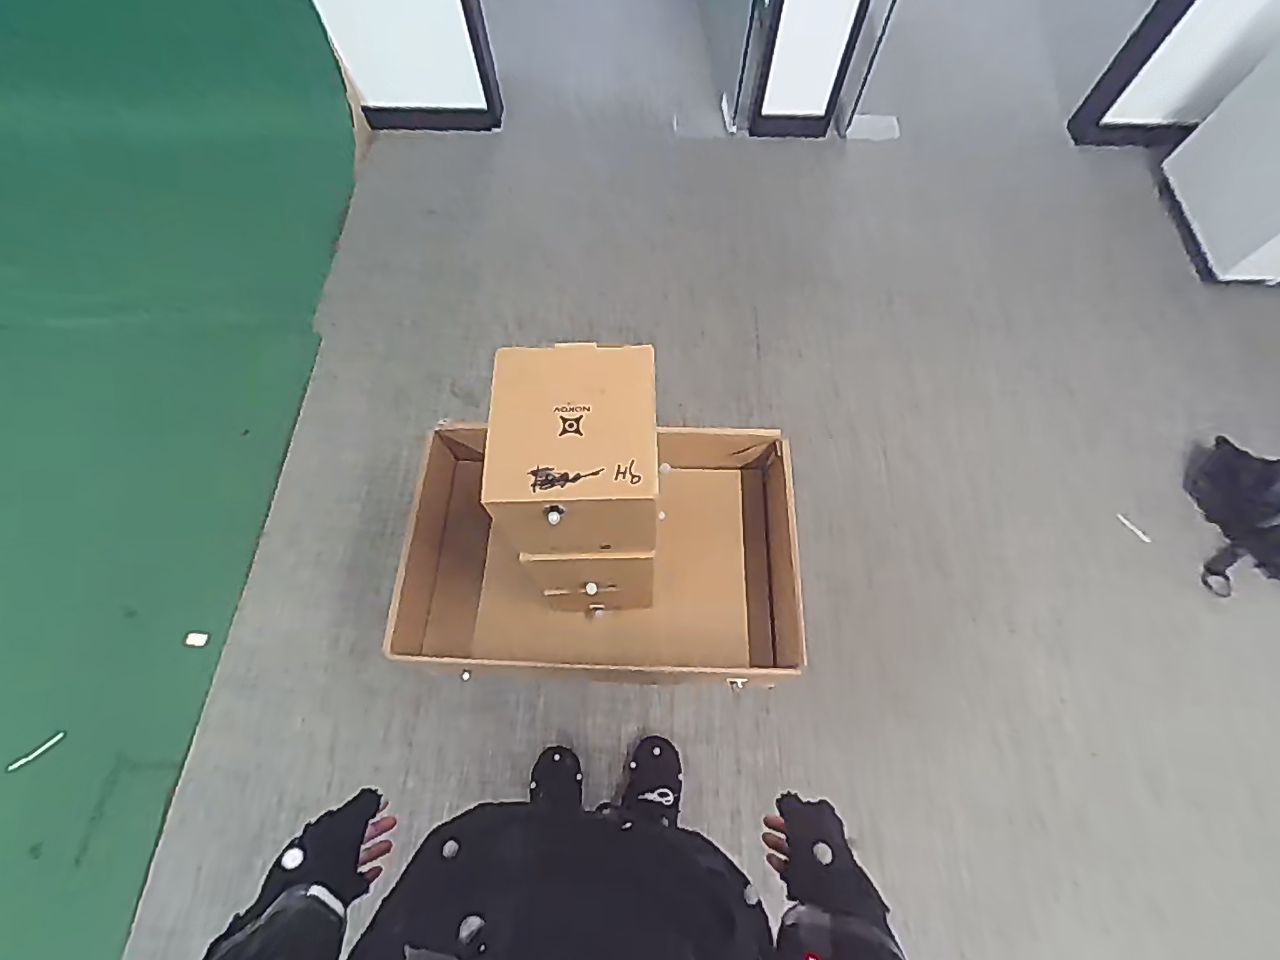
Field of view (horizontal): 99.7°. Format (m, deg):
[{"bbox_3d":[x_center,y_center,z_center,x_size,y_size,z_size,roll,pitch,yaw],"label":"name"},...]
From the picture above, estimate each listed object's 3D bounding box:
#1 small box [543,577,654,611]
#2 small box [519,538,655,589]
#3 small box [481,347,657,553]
[{"bbox_3d":[-0.065,0.114,0.903,0.168,0.176,0.179,-3,67,0],"label":"small box"},{"bbox_3d":[-0.064,0.046,0.754,0.168,0.176,0.179,-1,67,1],"label":"small box"},{"bbox_3d":[-0.066,-0.027,0.607,0.168,0.176,0.179,-2,65,1],"label":"small box"}]
